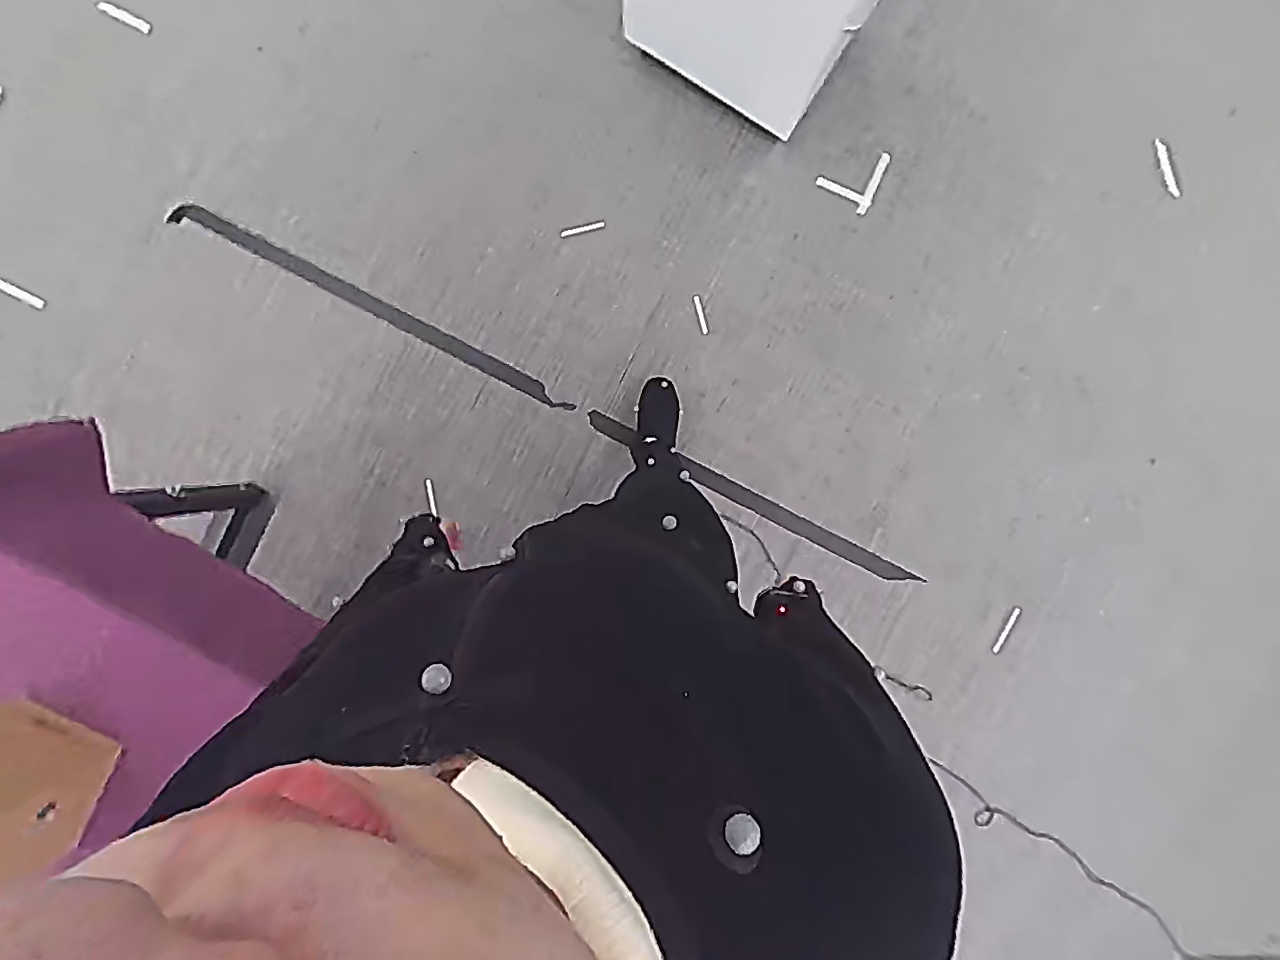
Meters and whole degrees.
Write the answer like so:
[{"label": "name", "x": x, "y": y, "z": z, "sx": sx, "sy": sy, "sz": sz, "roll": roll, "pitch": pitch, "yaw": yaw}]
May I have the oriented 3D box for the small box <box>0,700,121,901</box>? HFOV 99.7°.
[{"label": "small box", "x": -0.850, "y": 0.424, "z": 0.707, "sx": 0.168, "sy": 0.176, "sz": 0.179, "roll": 27, "pitch": 93, "yaw": 0}]
